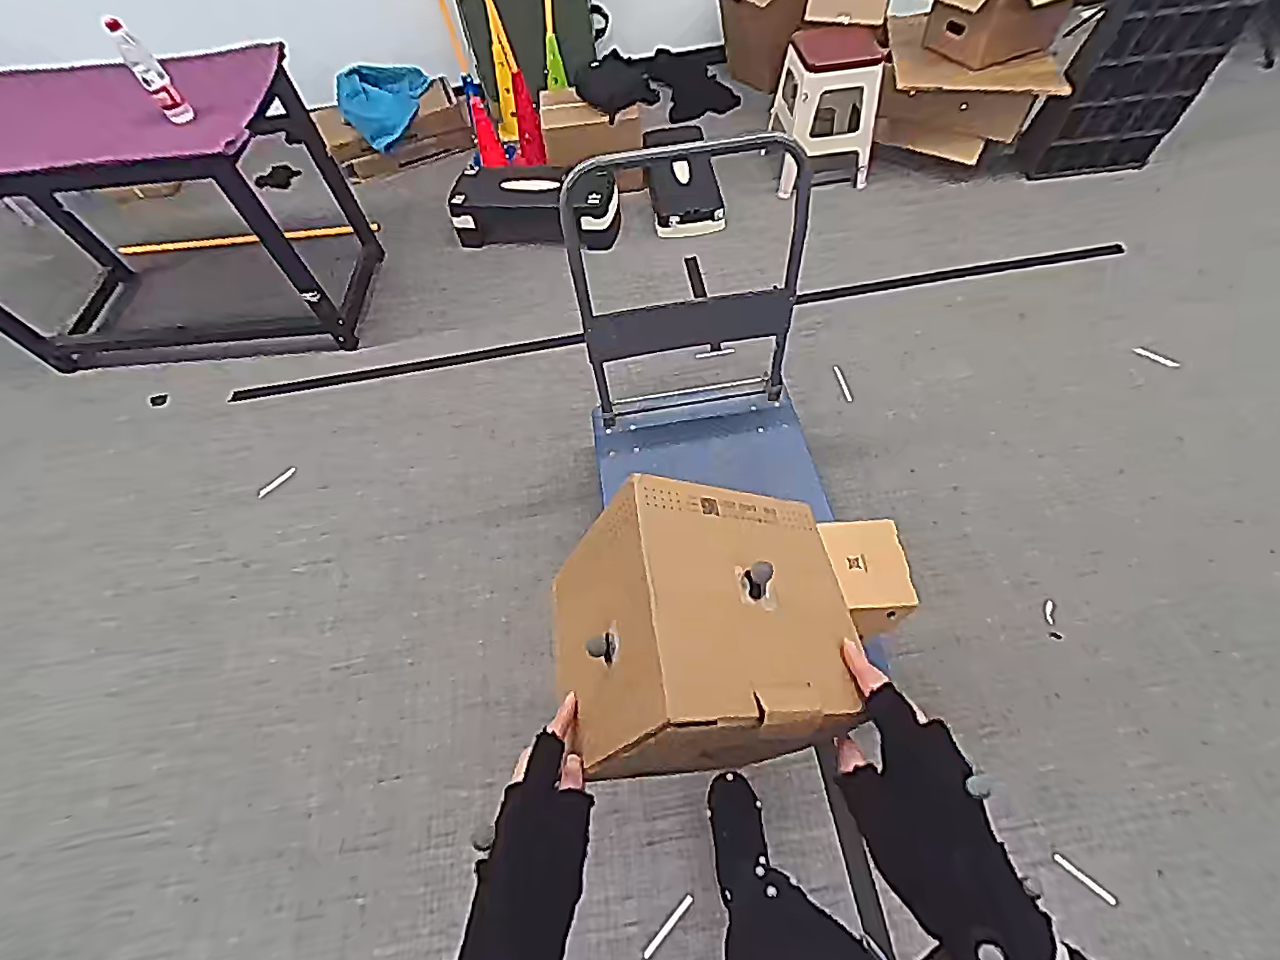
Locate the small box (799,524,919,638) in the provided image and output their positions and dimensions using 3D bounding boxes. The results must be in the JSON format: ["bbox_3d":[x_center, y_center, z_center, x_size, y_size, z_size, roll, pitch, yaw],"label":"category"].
[{"bbox_3d":[0.387,0.197,1.020,0.179,0.176,0.168,-4,59,2],"label":"small box"}]

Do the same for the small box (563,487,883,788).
[{"bbox_3d":[0.042,0.125,0.428,0.168,0.179,0.176,10,49,-25],"label":"small box"}]
